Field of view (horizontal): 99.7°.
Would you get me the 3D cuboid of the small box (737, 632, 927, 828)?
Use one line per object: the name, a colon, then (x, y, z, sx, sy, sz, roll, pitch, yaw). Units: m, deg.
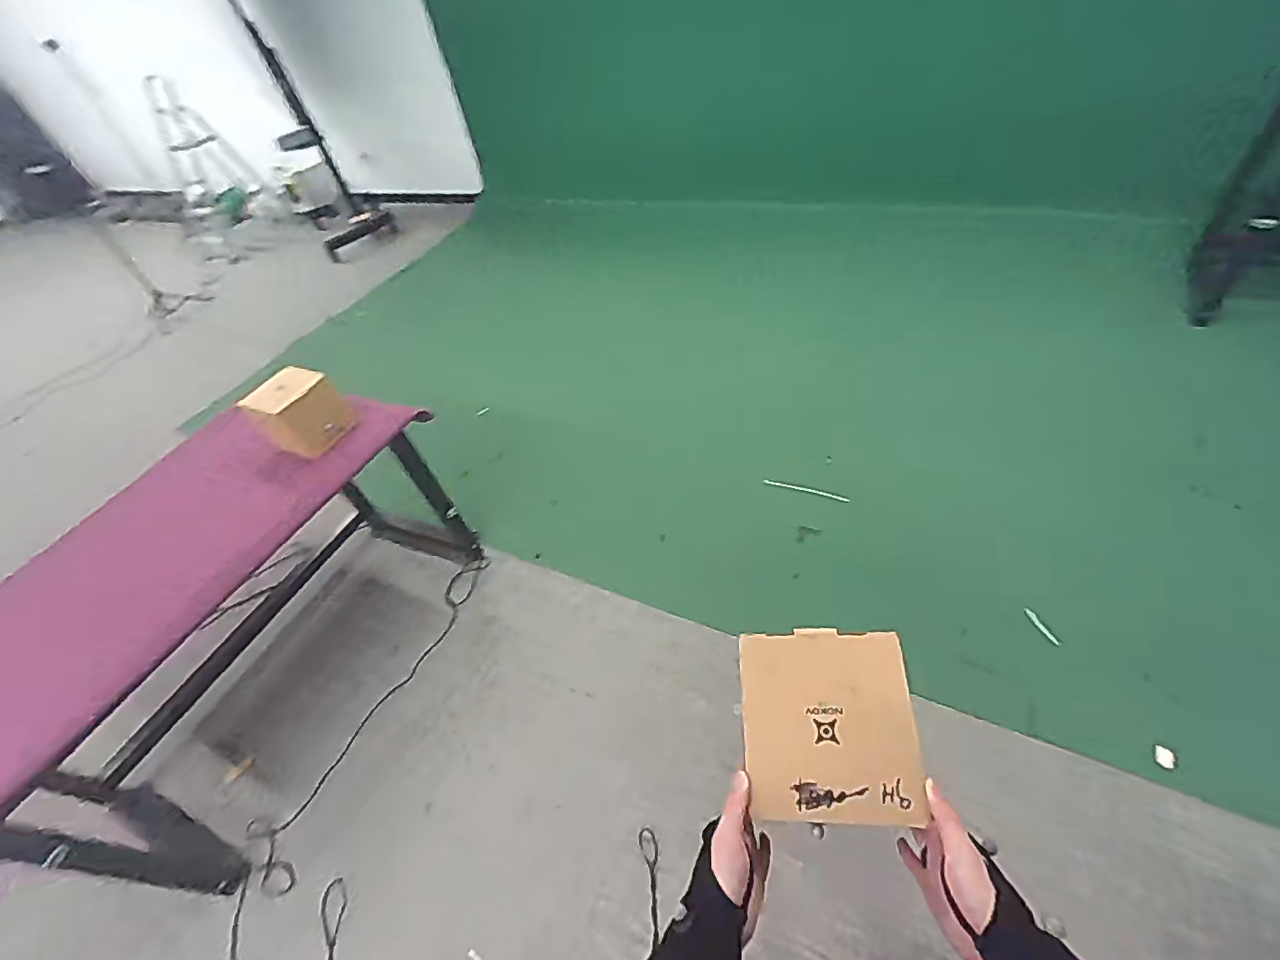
small box: (0.198, 0.278, 0.609, 0.168, 0.176, 0.179, -5, 63, 11)

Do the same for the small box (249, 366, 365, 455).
small box: (-0.914, -0.189, 1.496, 0.179, 0.176, 0.168, 15, 54, 26)
